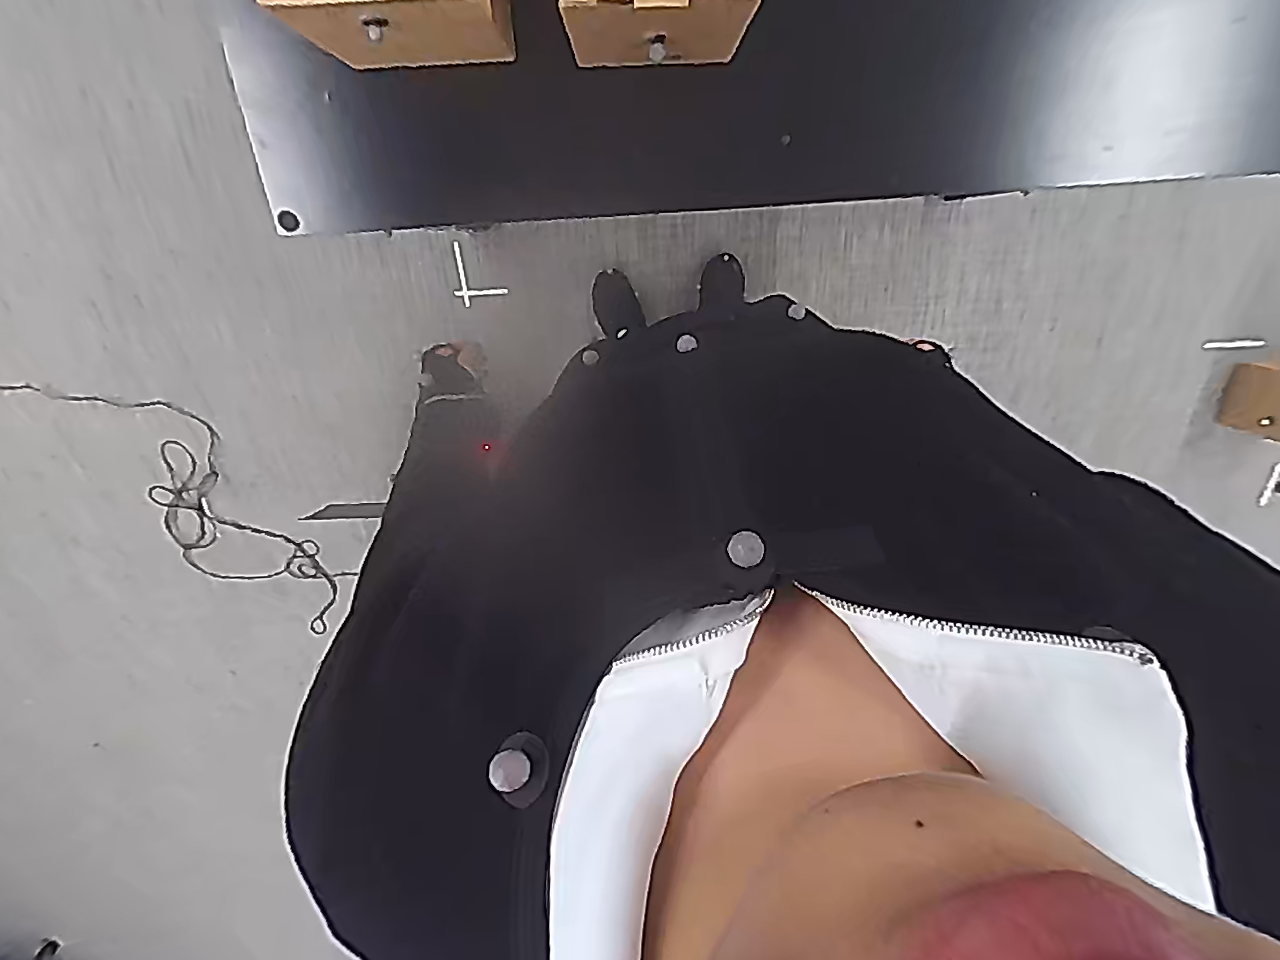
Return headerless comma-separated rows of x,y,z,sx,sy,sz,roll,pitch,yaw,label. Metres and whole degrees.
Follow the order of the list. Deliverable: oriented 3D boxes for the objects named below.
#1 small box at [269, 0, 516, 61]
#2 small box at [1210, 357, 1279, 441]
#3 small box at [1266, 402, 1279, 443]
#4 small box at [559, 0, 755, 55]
-0.219,-0.490,0.471,0.179,0.176,0.168,-3,114,0,small box
1.656,-0.214,1.402,0.168,0.176,0.179,-4,114,1,small box
1.652,-0.150,1.252,0.179,0.176,0.168,-3,113,2,small box
0.013,-0.495,0.471,0.168,0.176,0.179,-2,115,-1,small box
